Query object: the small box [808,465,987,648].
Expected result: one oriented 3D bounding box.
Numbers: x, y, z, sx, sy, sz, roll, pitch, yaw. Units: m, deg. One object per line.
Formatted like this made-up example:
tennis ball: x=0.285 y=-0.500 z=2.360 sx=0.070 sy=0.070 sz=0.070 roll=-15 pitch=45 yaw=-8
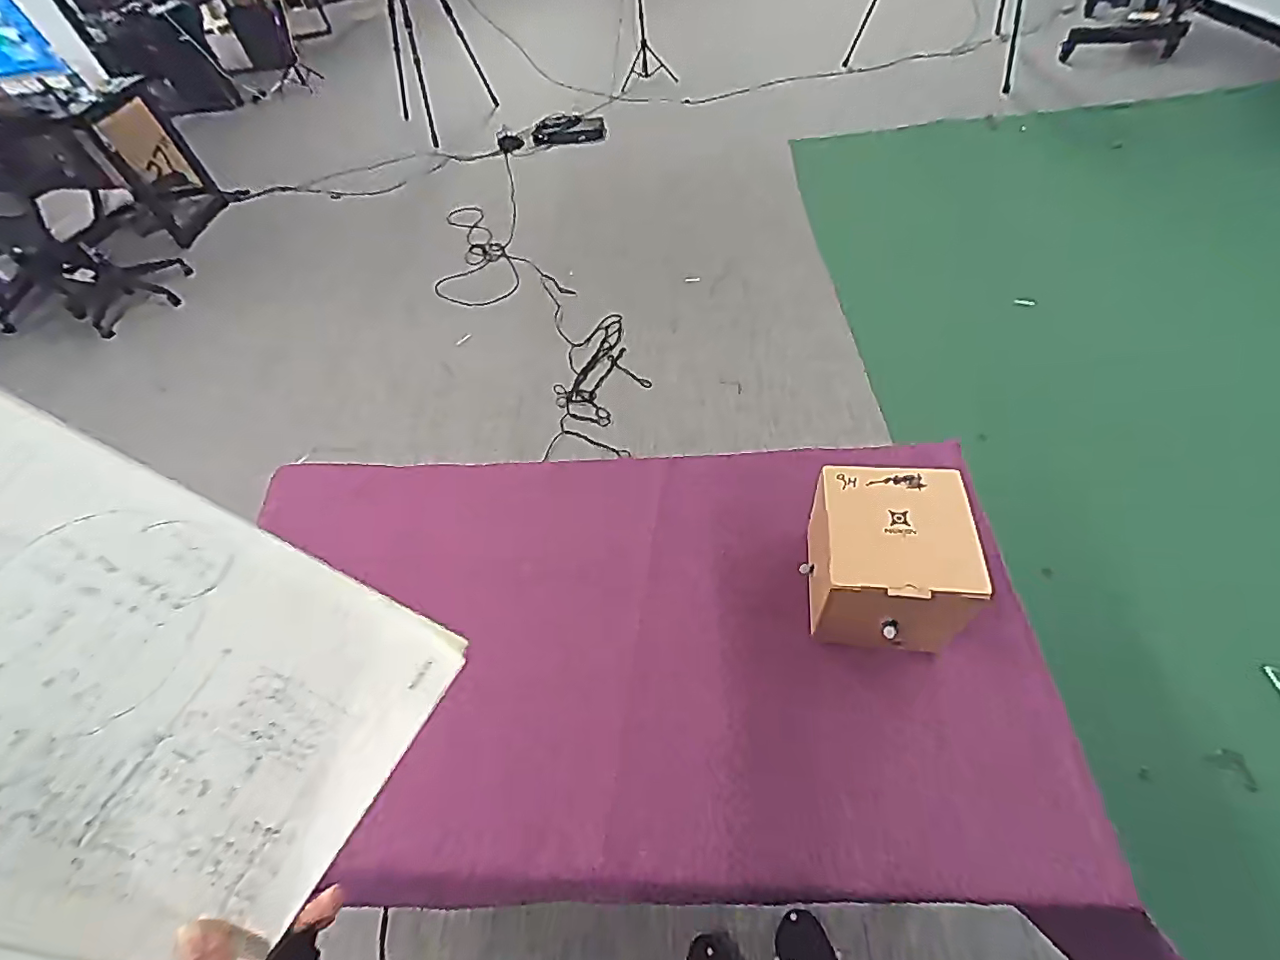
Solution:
small box: x=0.313 y=0.102 z=0.698 sx=0.168 sy=0.176 sz=0.179 roll=3 pitch=54 yaw=11
